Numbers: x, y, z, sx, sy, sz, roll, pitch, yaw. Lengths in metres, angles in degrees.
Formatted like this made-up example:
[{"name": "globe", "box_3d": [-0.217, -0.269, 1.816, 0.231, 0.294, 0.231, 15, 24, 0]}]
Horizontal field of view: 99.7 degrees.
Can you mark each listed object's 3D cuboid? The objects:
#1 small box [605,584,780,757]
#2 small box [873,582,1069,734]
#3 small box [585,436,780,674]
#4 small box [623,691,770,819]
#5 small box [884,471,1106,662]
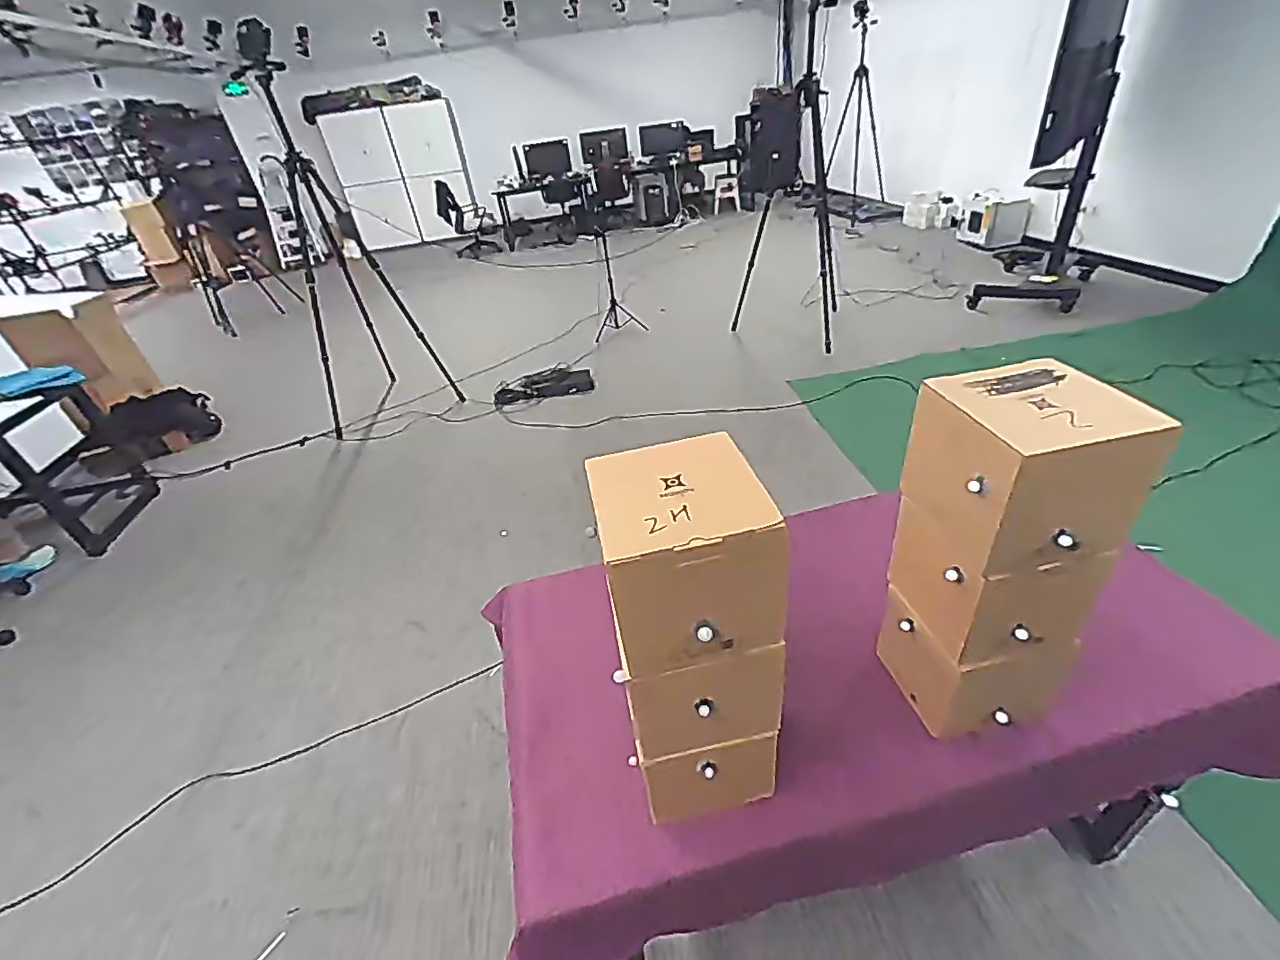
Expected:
[{"name": "small box", "box_3d": [0.062, 0.215, 0.681, 0.179, 0.176, 0.168, -13, 36, -4]}, {"name": "small box", "box_3d": [0.483, 0.253, 0.822, 0.179, 0.176, 0.168, -12, 34, -5]}, {"name": "small box", "box_3d": [0.040, 0.077, 0.591, 0.168, 0.176, 0.179, -12, 36, -5]}, {"name": "small box", "box_3d": [0.076, 0.350, 0.772, 0.179, 0.176, 0.168, -11, 35, -4]}, {"name": "small box", "box_3d": [0.459, 0.115, 0.738, 0.168, 0.176, 0.179, -12, 36, -4]}]
